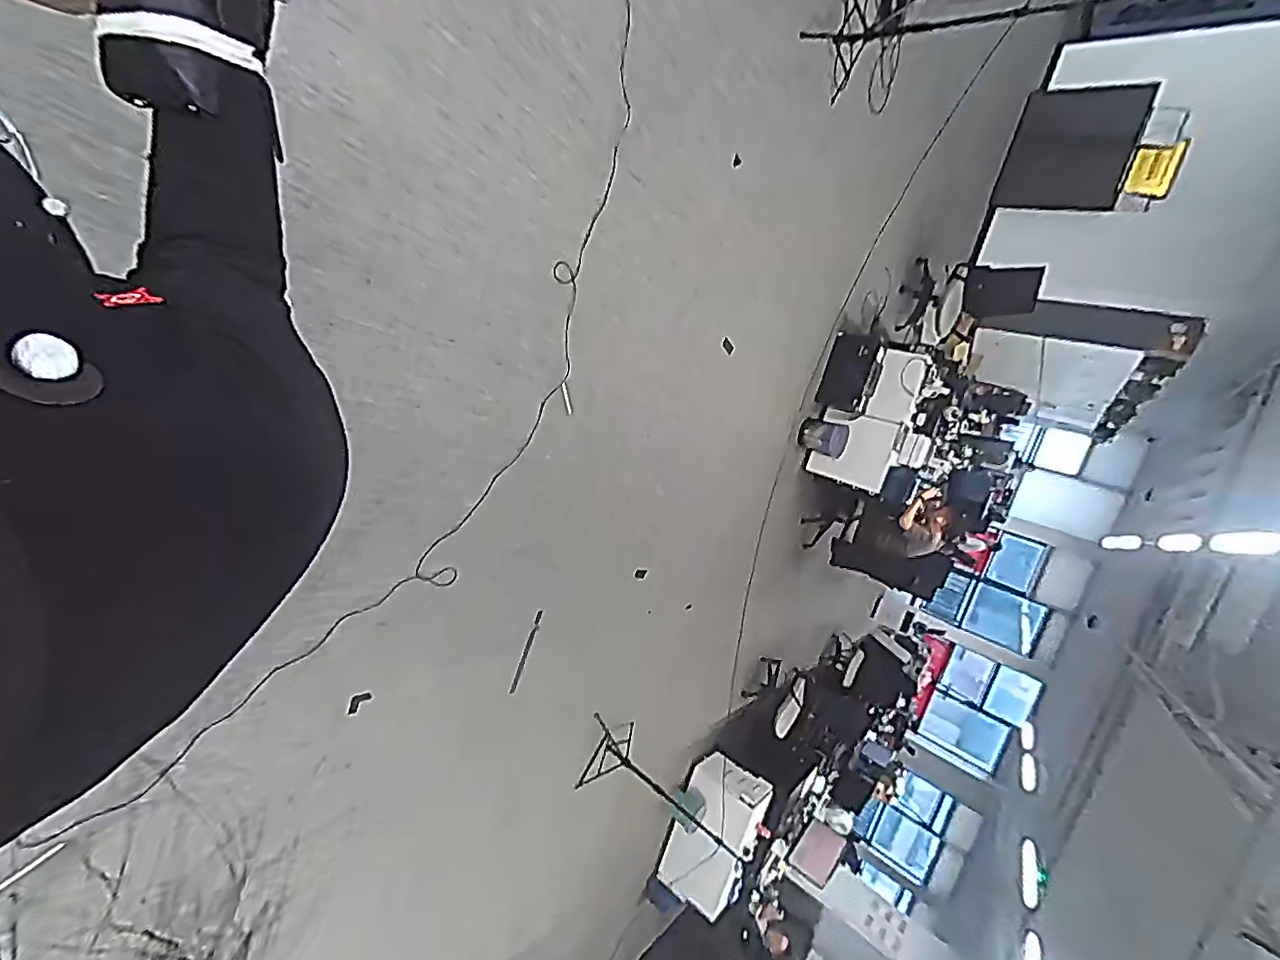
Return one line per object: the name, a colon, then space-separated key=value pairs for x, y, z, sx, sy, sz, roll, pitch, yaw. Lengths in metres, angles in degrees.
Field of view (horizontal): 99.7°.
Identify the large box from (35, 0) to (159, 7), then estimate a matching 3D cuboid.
large box: x=-0.512 y=-0.463 z=0.214 sx=0.408 sy=0.320 sz=0.320 roll=-18 pitch=131 yaw=-49
